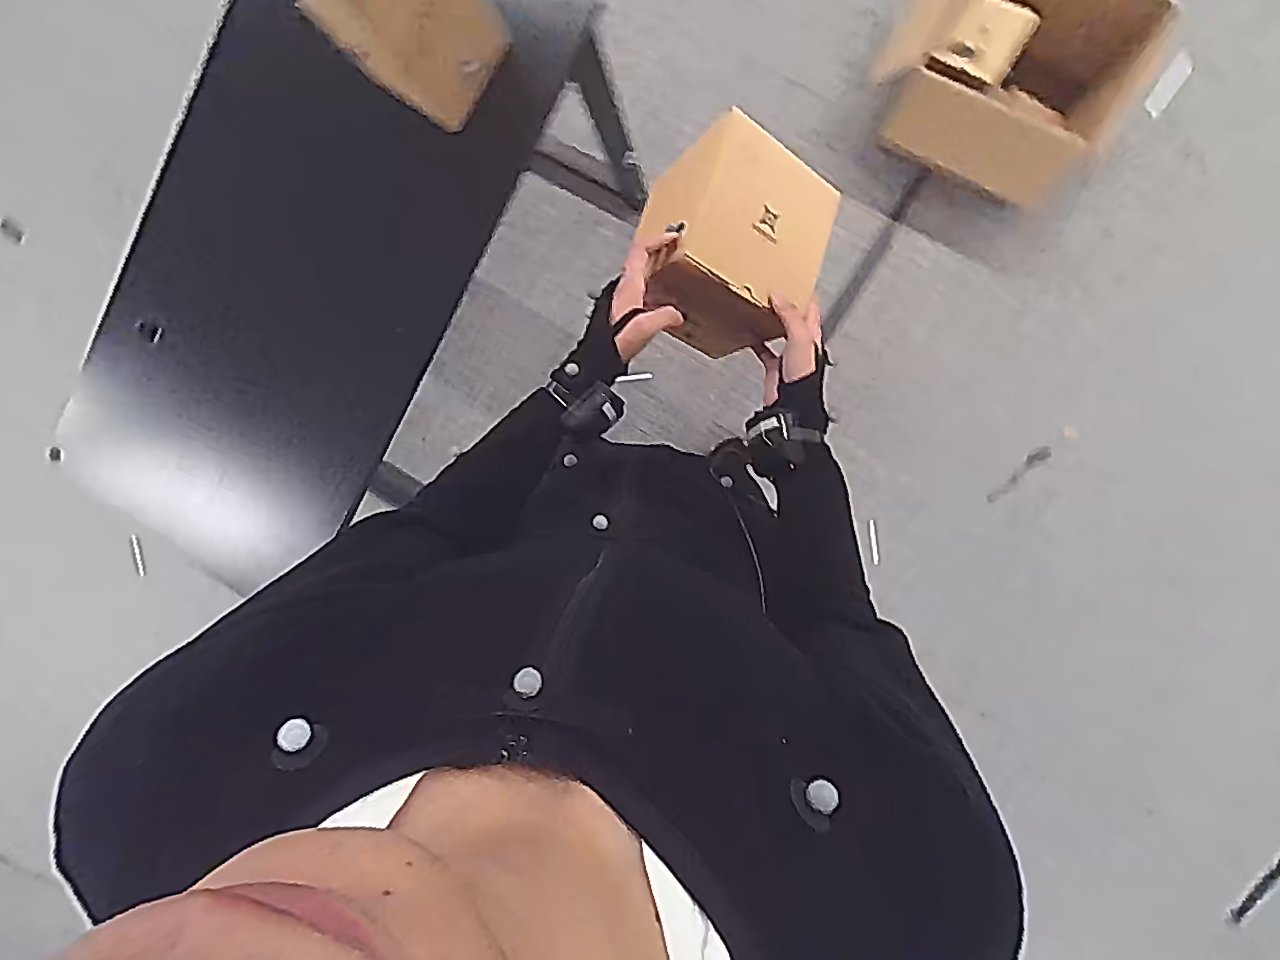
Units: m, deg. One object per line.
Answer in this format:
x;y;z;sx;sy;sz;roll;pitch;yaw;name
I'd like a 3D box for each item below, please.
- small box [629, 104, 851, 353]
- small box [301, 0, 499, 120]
0.108;-0.272;0.633;0.168;0.176;0.179;22;82;-26;small box
-0.343;-0.678;0.790;0.179;0.176;0.168;36;101;4;small box
